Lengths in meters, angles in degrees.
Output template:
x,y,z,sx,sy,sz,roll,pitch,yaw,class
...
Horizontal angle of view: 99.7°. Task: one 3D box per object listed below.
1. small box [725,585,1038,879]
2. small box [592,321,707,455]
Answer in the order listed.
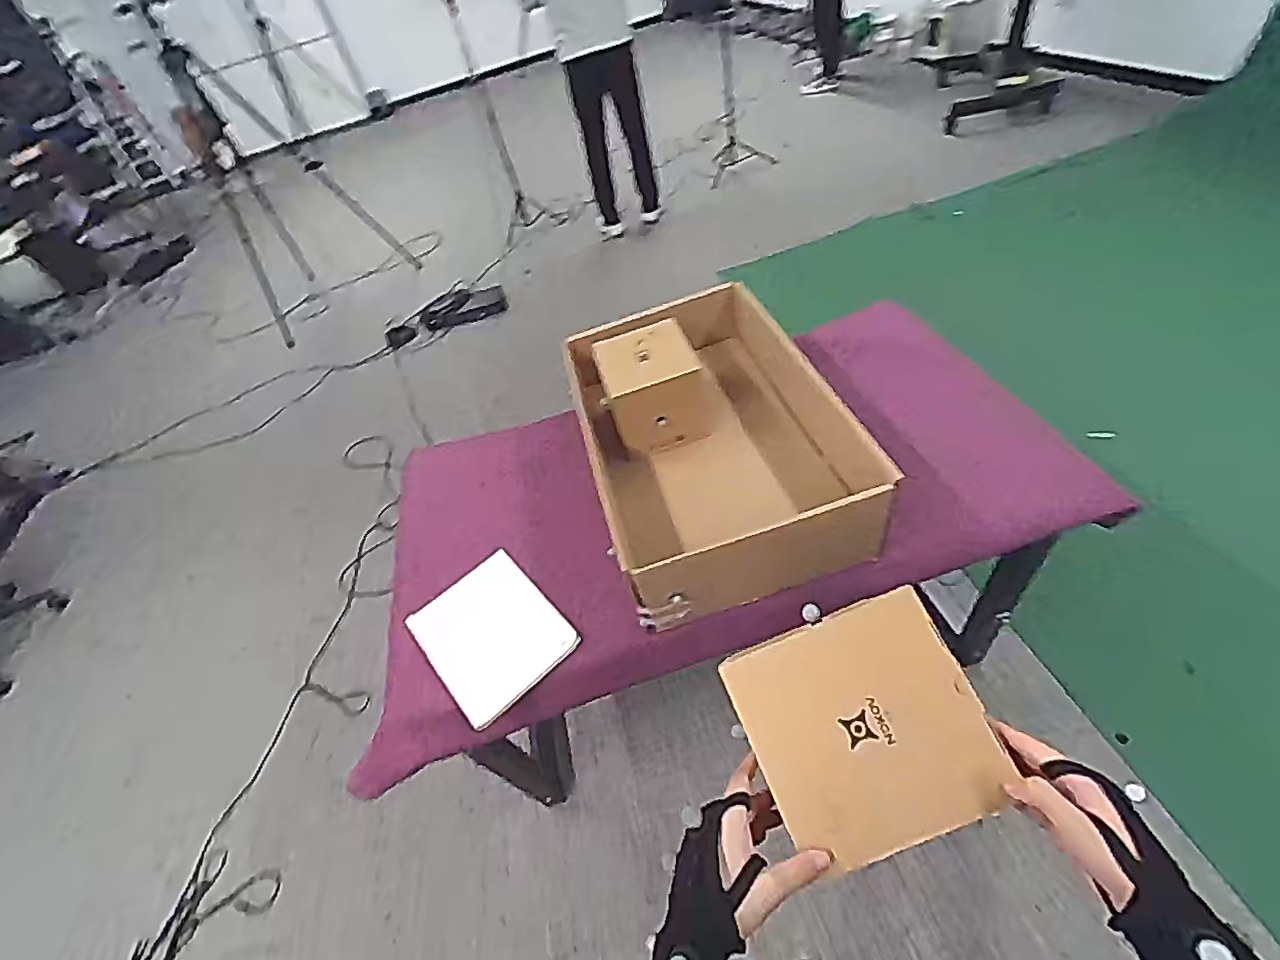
x,y,z,sx,sy,sz,roll,pitch,yaw,class
0.193,0.213,0.490,0.179,0.176,0.168,-24,69,2,small box
0.021,-0.169,1.039,0.168,0.176,0.179,-18,48,-1,small box
